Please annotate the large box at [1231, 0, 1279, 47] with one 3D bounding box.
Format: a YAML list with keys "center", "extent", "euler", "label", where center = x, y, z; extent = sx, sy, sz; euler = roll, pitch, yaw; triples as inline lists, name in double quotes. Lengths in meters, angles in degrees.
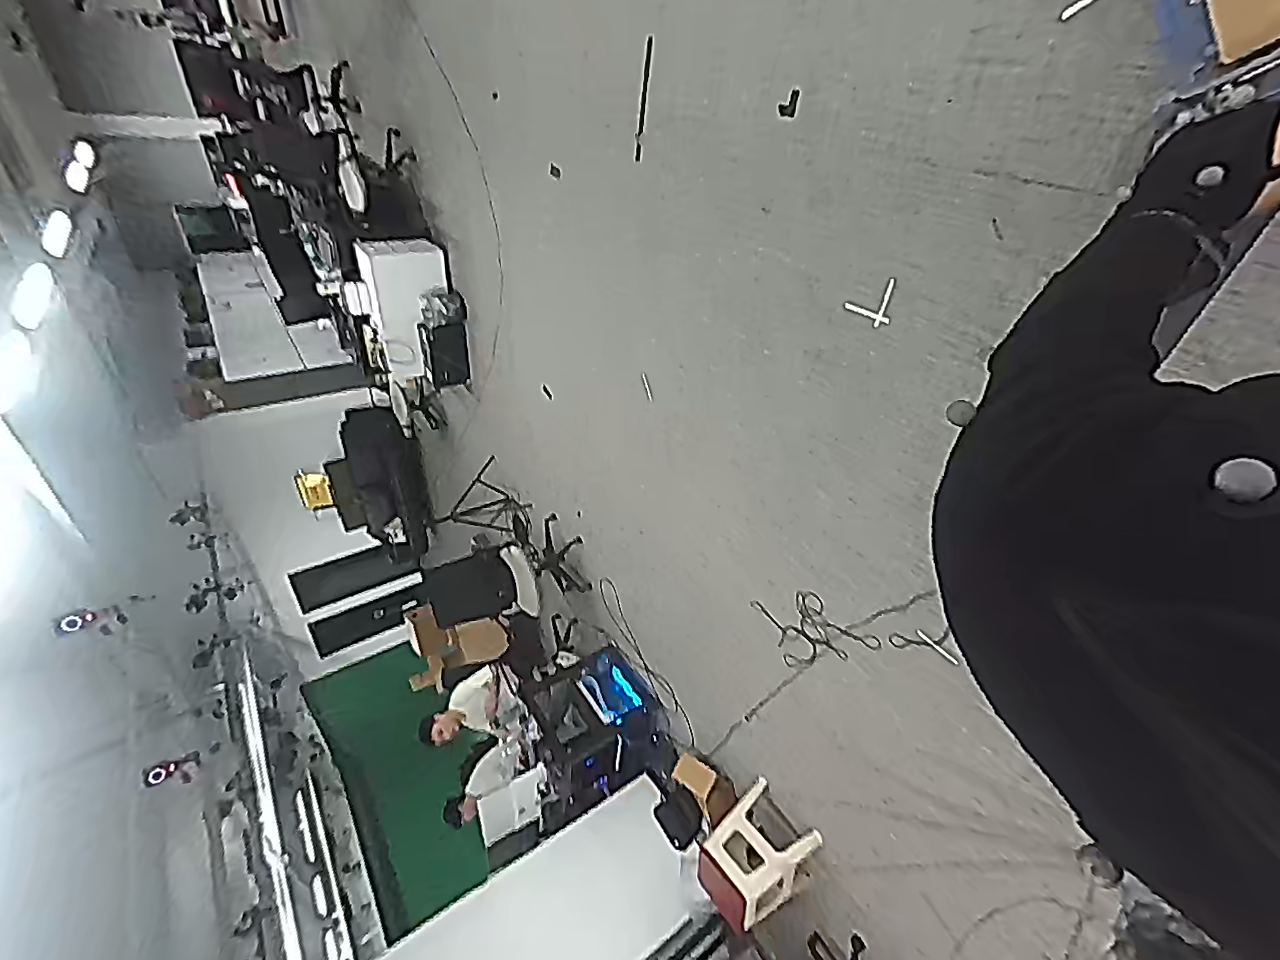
- center: [0.875, -0.740, 0.539]
  extent: [0.408, 0.320, 0.320]
  euler: [-11, 108, 58]
  label: "large box"
